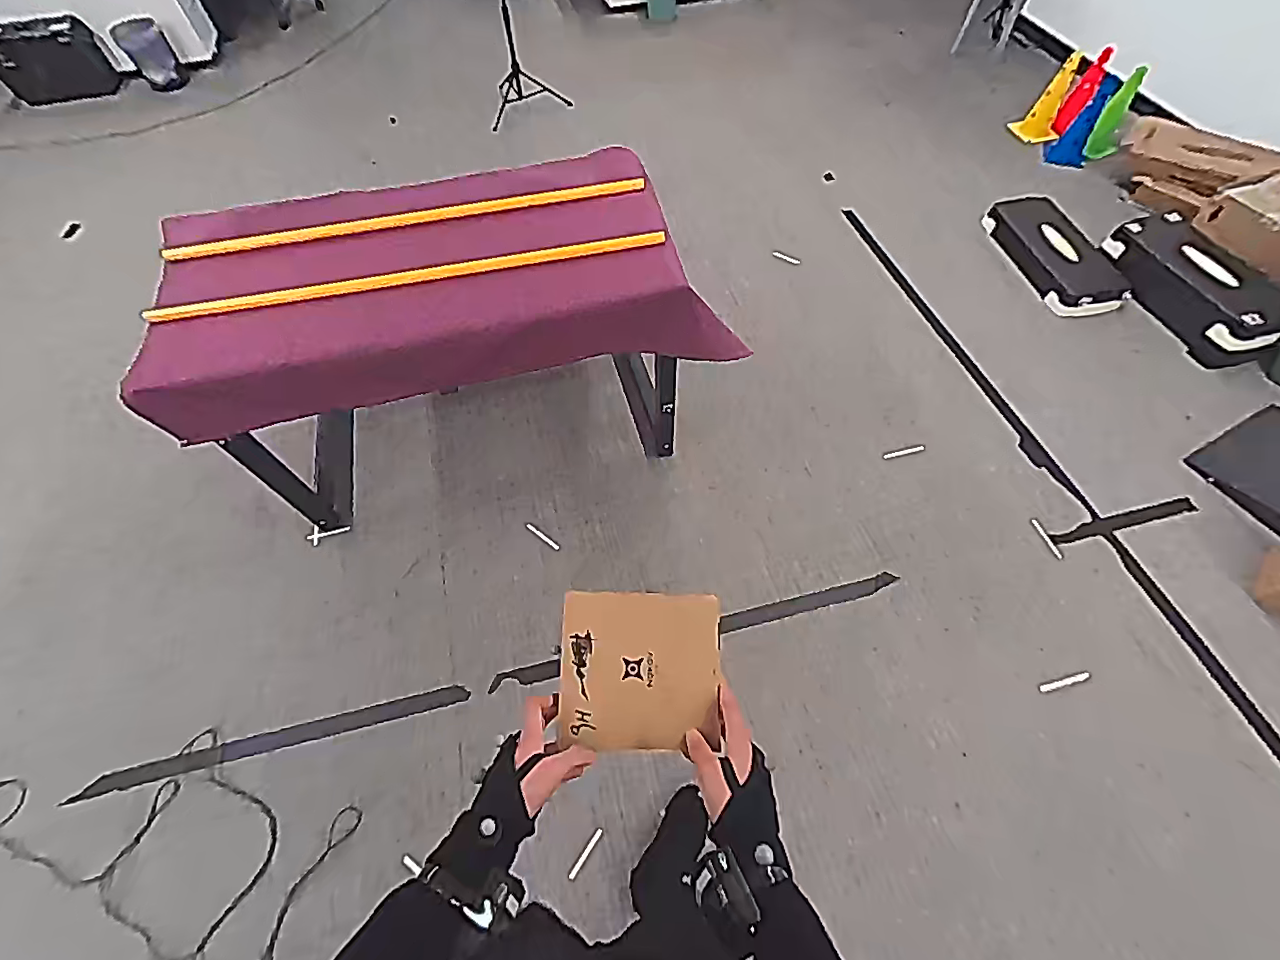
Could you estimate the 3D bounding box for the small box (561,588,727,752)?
[{"bbox_3d":[0.002,0.220,0.658,0.179,0.176,0.168,3,77,-3],"label":"small box"}]
